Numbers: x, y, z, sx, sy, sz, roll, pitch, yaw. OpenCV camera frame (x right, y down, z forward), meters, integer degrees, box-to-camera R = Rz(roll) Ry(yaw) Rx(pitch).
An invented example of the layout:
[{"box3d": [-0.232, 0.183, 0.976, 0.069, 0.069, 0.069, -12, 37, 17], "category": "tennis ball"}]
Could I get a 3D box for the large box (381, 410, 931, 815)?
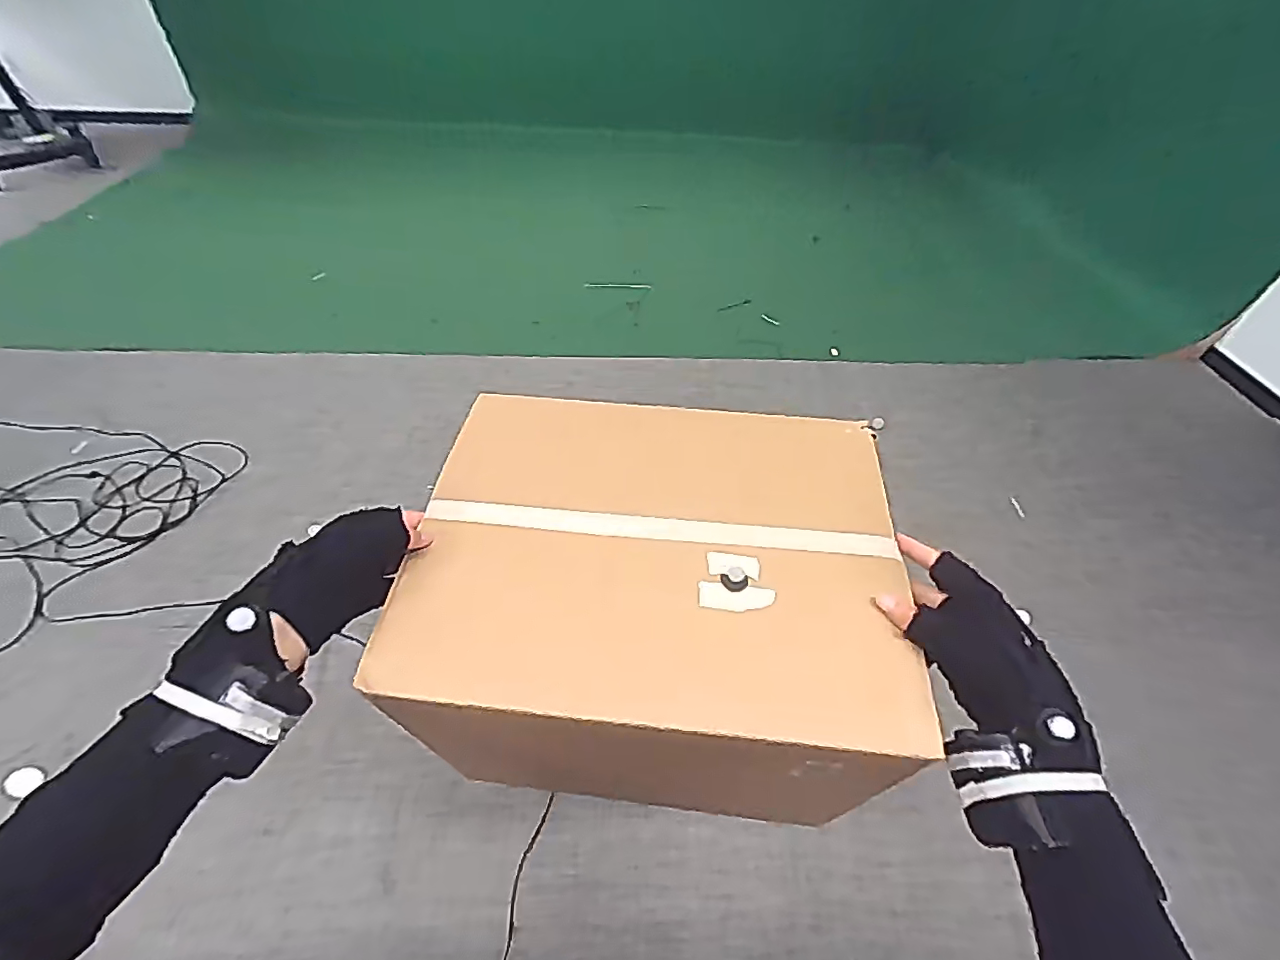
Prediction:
[{"box3d": [0.018, 0.147, 0.590, 0.408, 0.320, 0.320, 4, 51, 4], "category": "large box"}]
